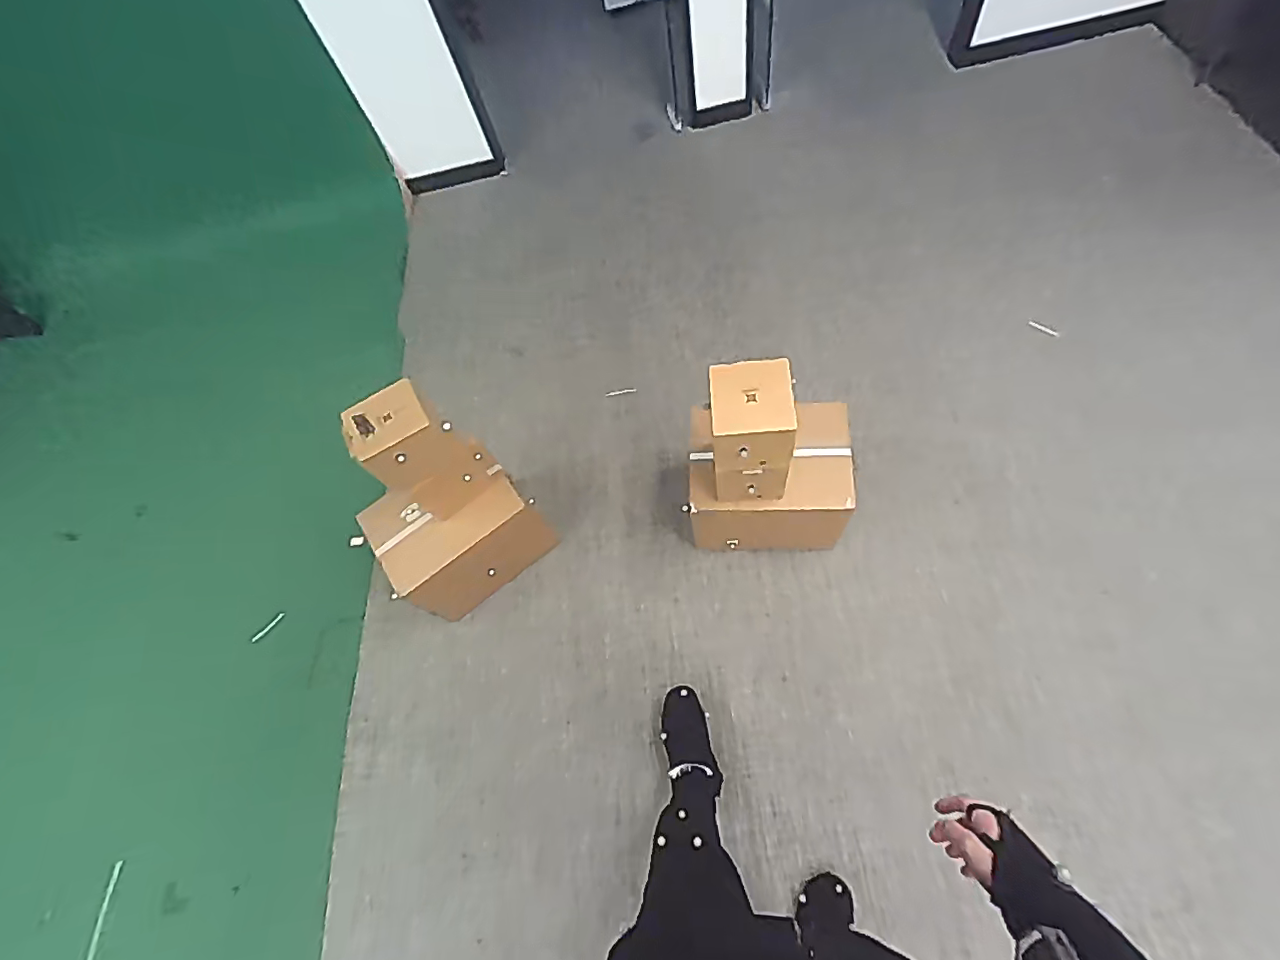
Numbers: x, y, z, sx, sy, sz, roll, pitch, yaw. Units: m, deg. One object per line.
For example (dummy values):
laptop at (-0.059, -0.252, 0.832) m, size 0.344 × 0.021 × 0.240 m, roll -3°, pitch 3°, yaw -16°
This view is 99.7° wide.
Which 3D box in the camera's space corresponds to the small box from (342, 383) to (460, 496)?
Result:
small box at (-0.565, -0.090, 1.289) m, size 0.179 × 0.176 × 0.168 m, roll -31°, pitch 62°, yaw -7°

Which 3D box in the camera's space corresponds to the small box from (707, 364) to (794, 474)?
small box at (0.235, -0.122, 1.163) m, size 0.168 × 0.176 × 0.179 m, roll -4°, pitch 62°, yaw 9°

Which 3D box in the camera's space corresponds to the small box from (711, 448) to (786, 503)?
small box at (0.258, -0.051, 1.308) m, size 0.168 × 0.176 × 0.179 m, roll -3°, pitch 64°, yaw 8°

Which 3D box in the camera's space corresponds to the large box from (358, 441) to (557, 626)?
large box at (-0.526, 0.168, 1.616) m, size 0.408 × 0.320 × 0.320 m, roll -38°, pitch 62°, yaw -9°
